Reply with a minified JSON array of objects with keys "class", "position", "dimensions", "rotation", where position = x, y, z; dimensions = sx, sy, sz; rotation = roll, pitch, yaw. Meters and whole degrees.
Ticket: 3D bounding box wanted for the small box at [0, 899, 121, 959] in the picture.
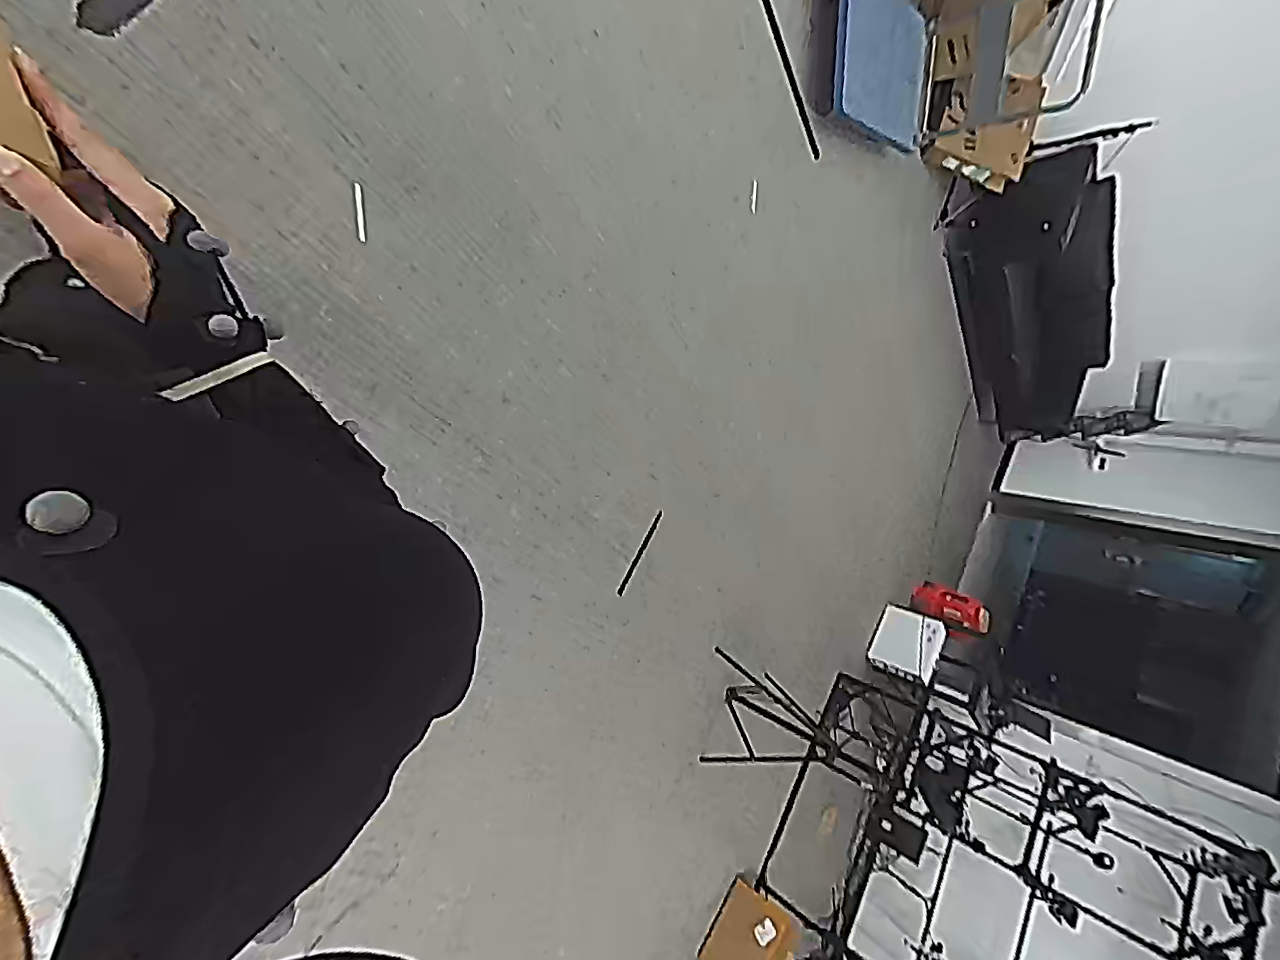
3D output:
[{"class":"small box","position":[-1.107,0.925,0.995],"dimensions":[0.168,0.176,0.179],"rotation":[38,72,-45]}]
